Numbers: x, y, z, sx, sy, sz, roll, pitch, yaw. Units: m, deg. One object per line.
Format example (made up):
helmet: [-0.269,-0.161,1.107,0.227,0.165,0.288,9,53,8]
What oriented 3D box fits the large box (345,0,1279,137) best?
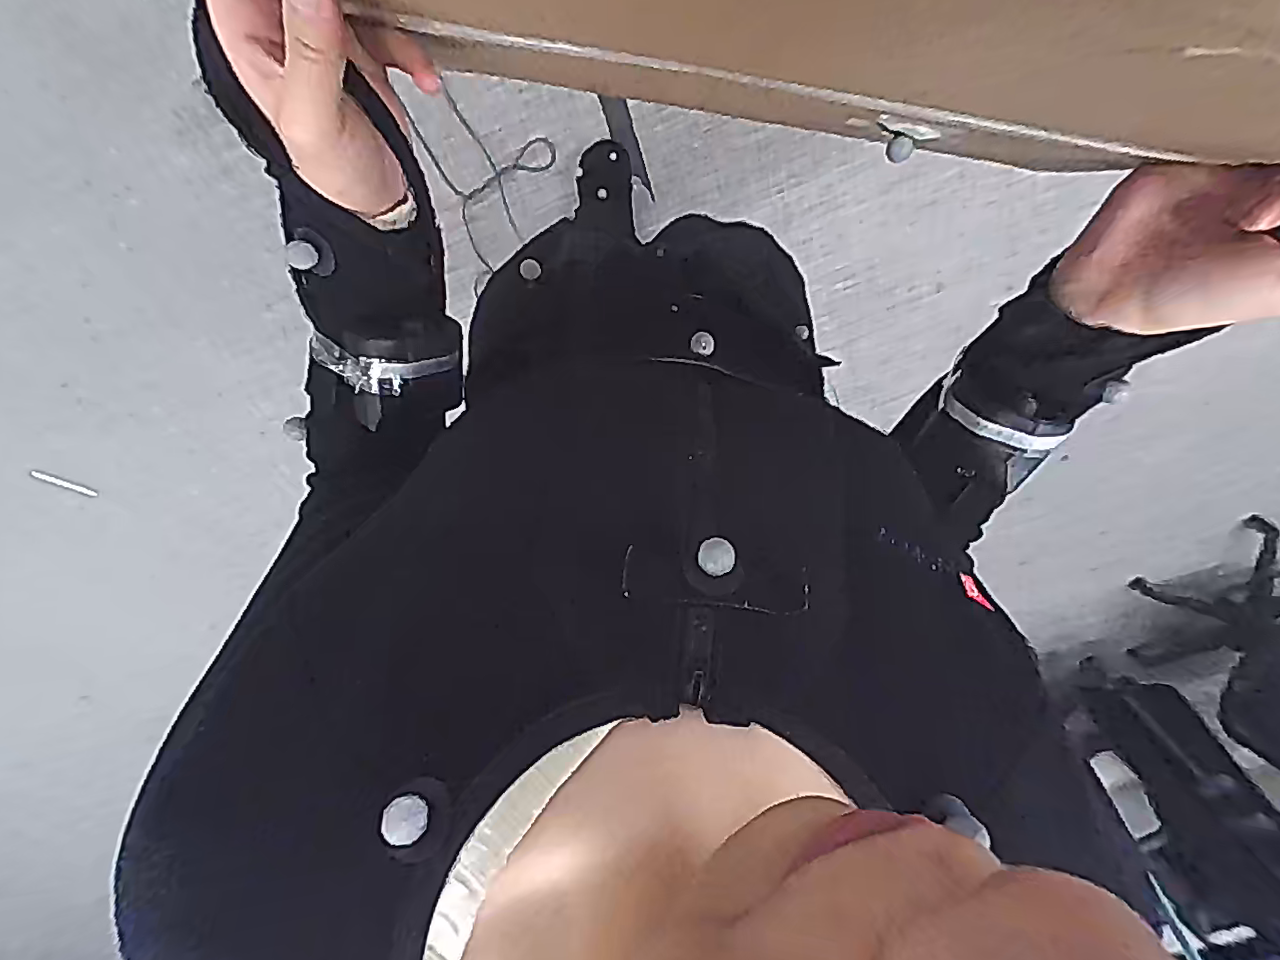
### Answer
large box: [0.083,-0.305,0.139,0.408,0.320,0.320,7,120,-2]
